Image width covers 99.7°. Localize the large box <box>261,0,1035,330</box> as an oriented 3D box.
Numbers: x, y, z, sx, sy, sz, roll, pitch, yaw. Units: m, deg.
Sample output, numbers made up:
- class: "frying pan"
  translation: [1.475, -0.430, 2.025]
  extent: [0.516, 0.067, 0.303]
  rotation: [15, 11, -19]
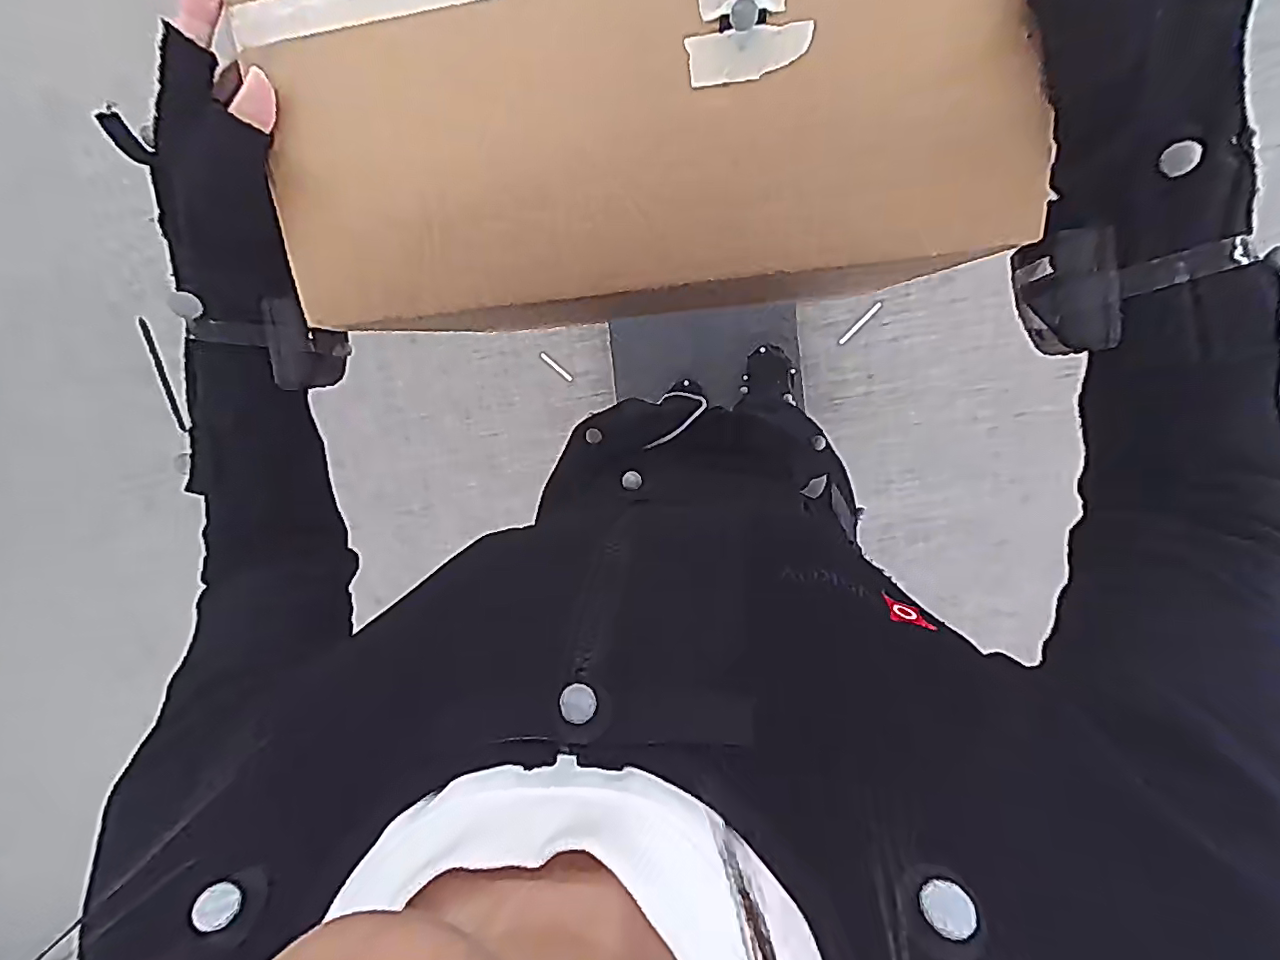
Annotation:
- class: "large box"
  translation: [0.004, -0.299, 0.415]
  extent: [0.408, 0.320, 0.320]
  rotation: [-4, 105, 9]
